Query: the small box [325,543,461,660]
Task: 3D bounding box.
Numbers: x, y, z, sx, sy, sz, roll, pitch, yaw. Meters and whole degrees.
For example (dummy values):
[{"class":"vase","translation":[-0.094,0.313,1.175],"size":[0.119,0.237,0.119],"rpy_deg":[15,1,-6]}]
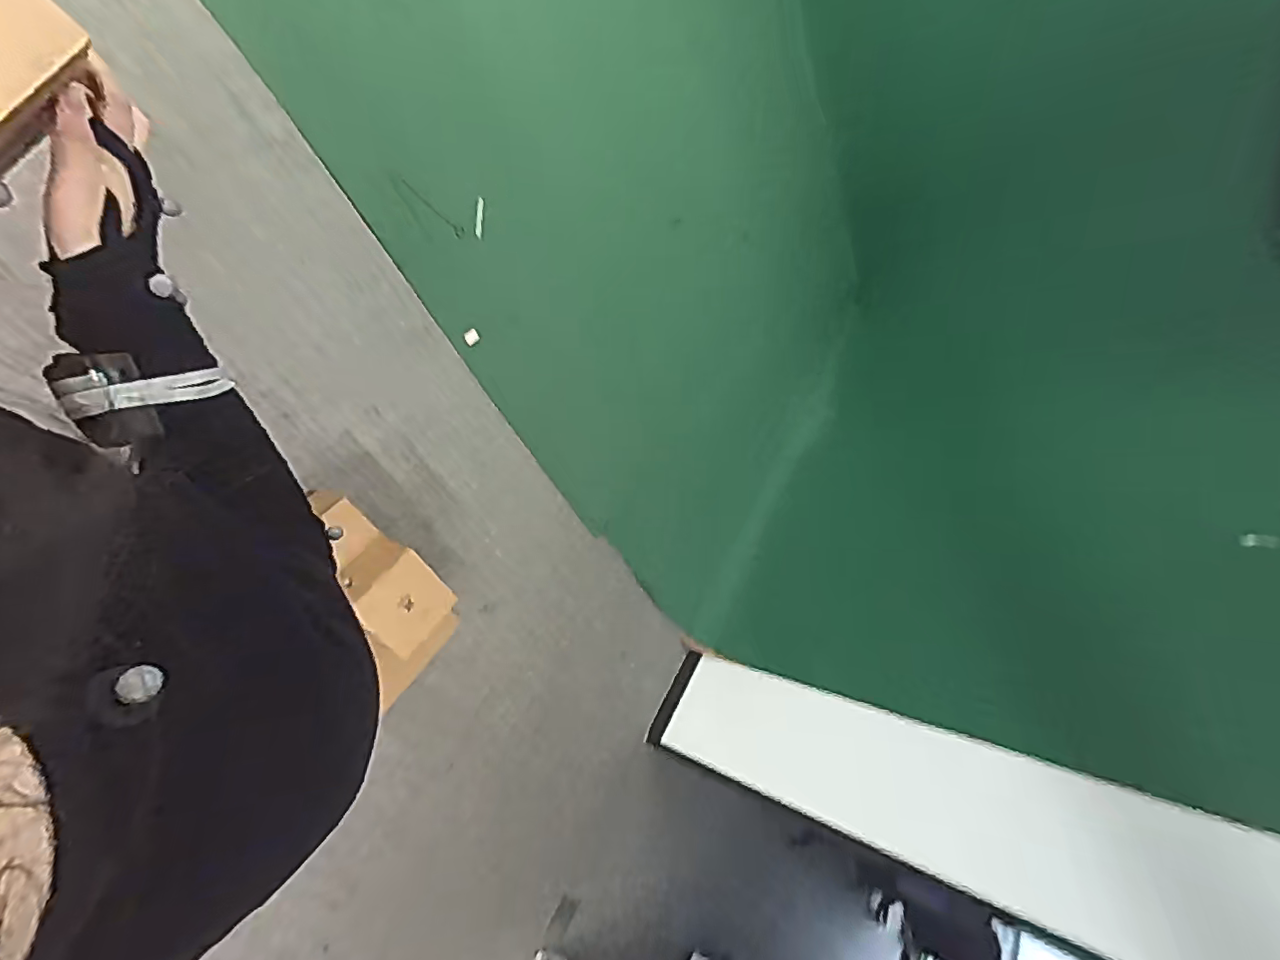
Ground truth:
[{"class":"small box","translation":[-0.533,0.252,1.167],"size":[0.168,0.176,0.179],"rpy_deg":[-52,131,-32]}]
